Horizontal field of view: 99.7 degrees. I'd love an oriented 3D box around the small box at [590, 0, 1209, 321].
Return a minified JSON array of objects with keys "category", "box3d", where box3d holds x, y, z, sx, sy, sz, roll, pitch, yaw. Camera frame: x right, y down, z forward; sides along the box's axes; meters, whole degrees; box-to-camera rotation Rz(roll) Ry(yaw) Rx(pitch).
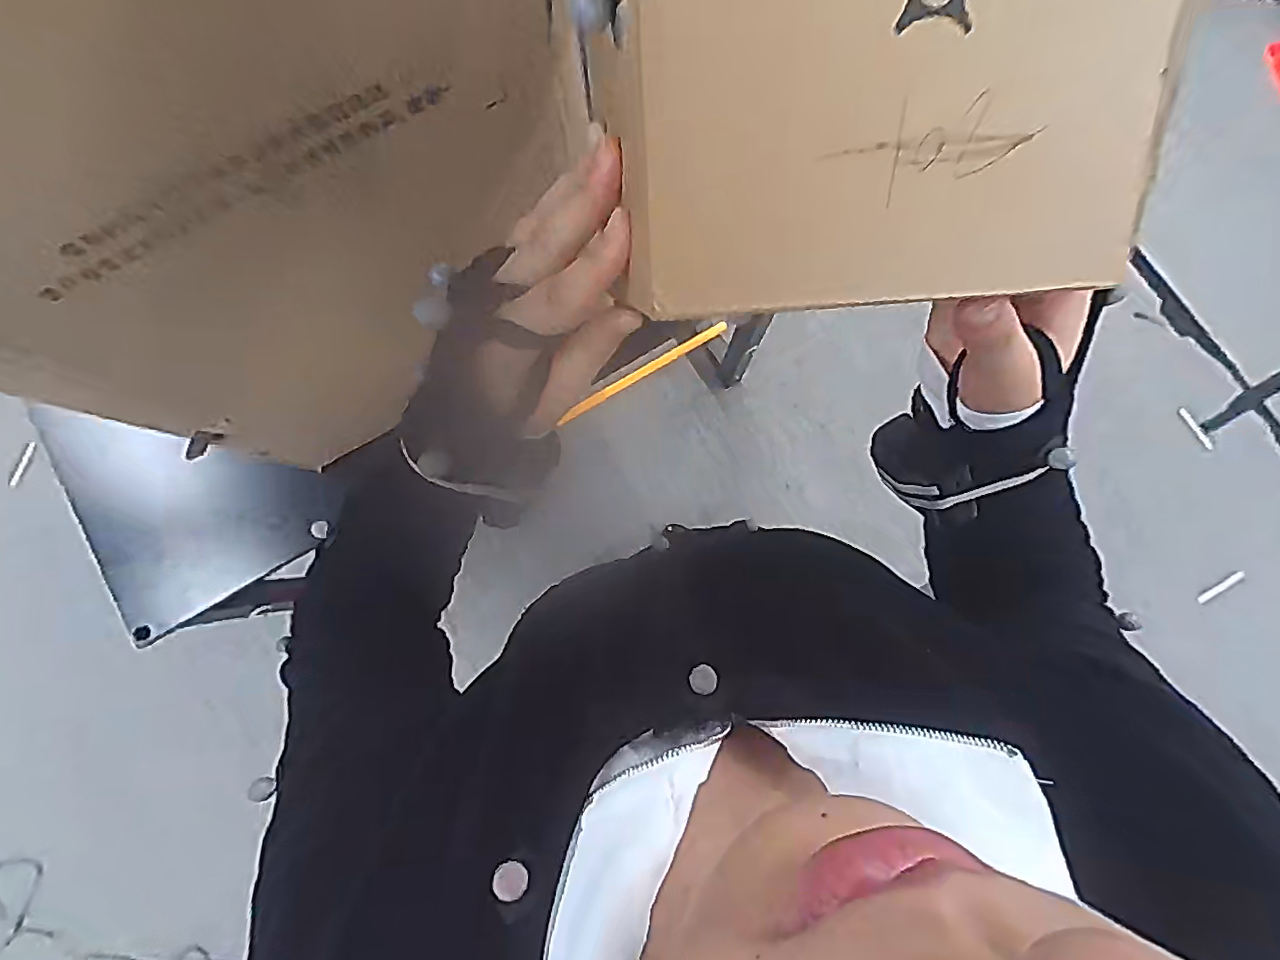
[{"category":"small box","box3d":[0.070,-0.165,0.219,0.168,0.176,0.179,-6,113,-6]}]
